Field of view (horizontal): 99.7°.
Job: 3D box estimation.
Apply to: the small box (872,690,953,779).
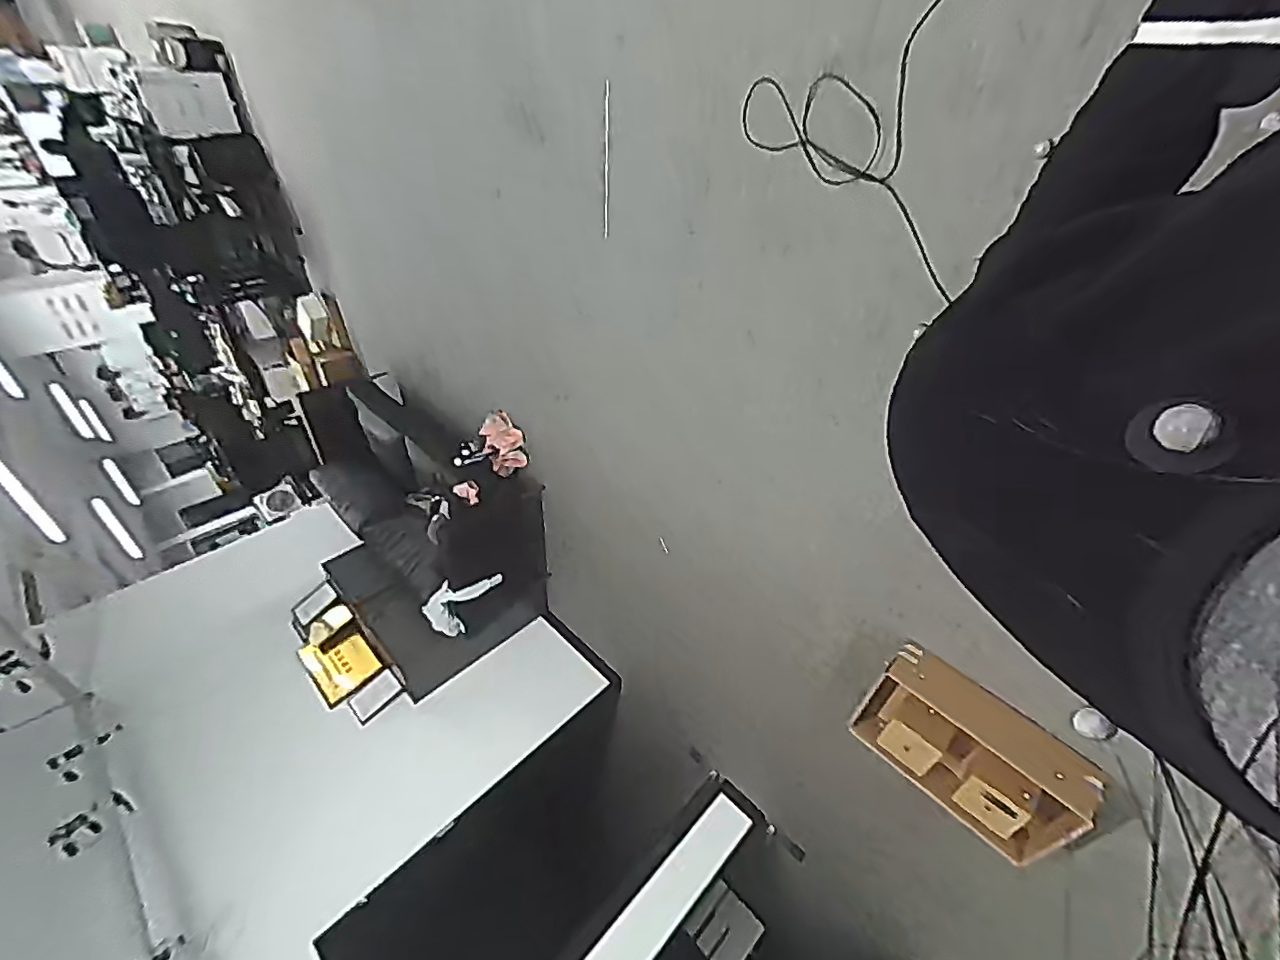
[{"bbox_3d":[0.925,0.858,1.831,0.168,0.176,0.179,34,136,29],"label":"small box"}]
